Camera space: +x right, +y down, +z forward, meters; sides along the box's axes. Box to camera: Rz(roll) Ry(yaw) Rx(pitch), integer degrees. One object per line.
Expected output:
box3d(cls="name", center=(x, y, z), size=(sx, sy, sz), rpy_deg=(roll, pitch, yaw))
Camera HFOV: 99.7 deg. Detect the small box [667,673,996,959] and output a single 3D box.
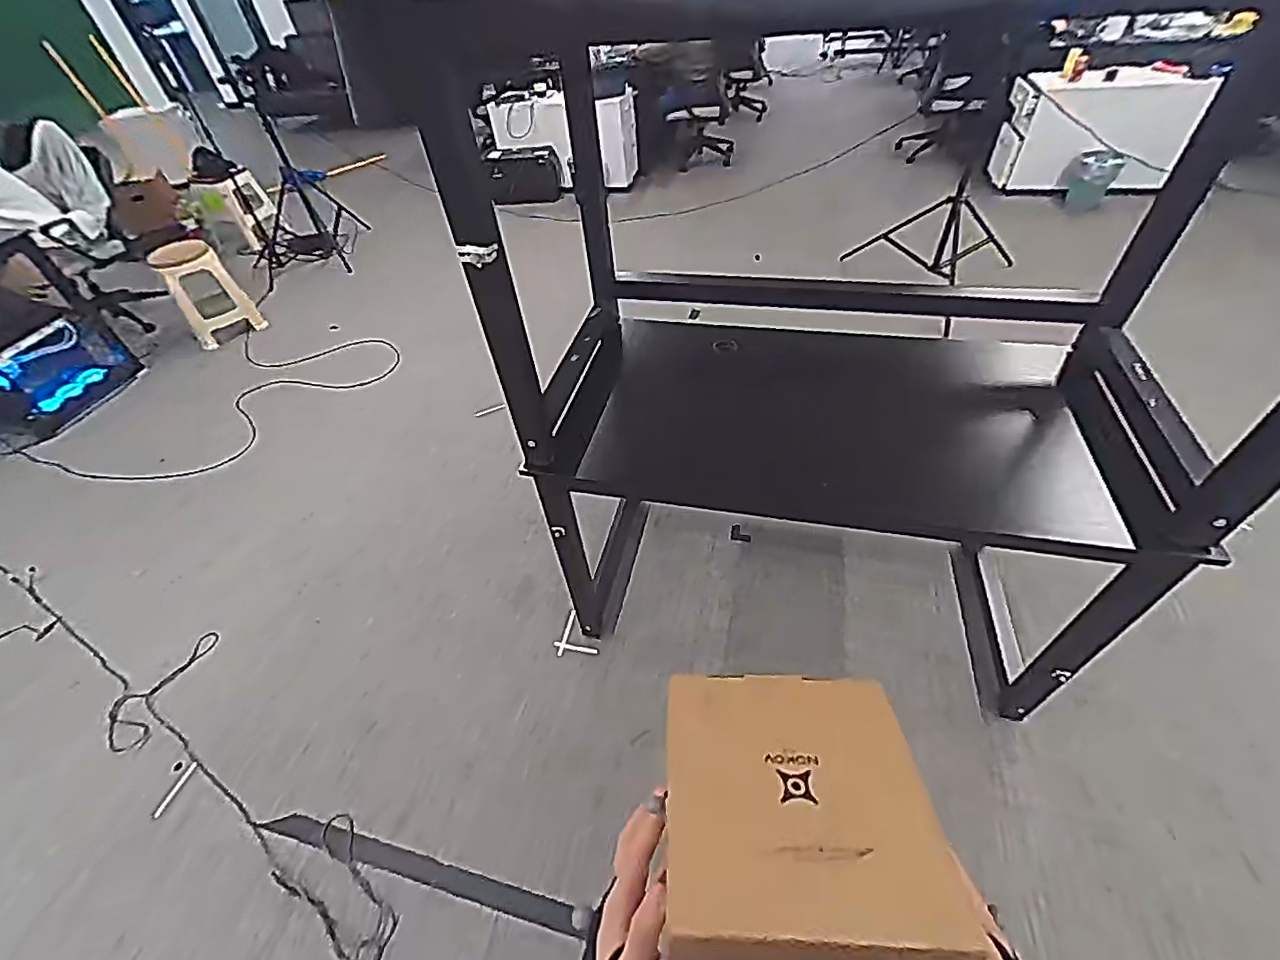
box3d(cls="small box", center=(0.104, 0.266, 0.386), size=(0.168, 0.176, 0.179), rpy_deg=(0, 28, 3))
